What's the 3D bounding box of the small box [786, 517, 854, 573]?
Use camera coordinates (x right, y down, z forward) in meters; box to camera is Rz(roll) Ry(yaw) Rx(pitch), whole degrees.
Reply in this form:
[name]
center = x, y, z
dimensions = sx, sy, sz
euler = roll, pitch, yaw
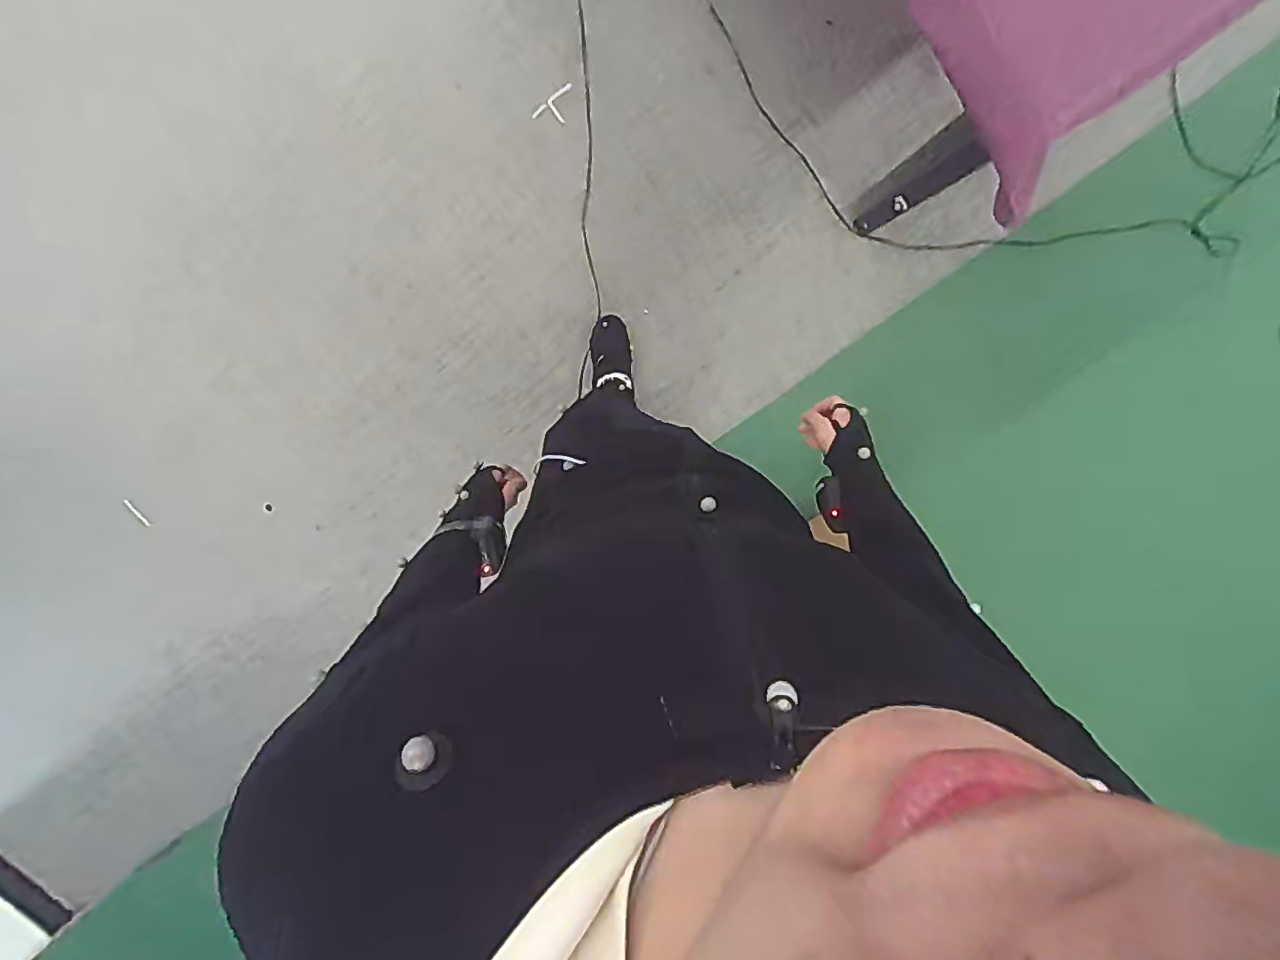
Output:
[small box]
center = 0.546, 0.236, 1.581
dimensions = 0.179, 0.176, 0.168
euler = -35, 99, 8
